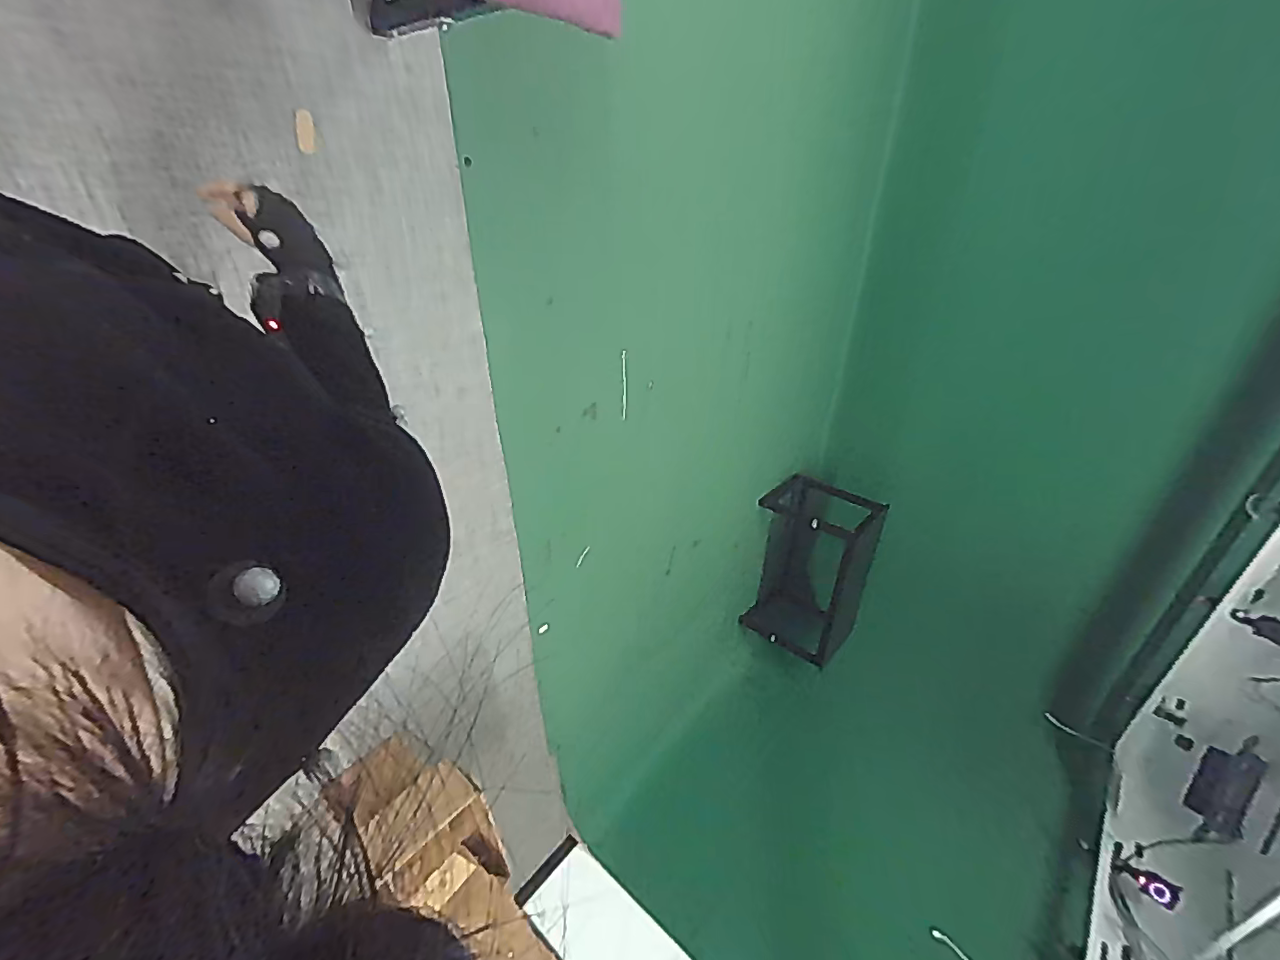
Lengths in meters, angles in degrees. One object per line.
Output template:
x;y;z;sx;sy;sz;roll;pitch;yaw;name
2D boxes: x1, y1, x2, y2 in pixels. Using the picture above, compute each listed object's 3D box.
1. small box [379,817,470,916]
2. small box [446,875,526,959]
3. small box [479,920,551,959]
-0.664;1.183;1.664;0.168;0.176;0.179;-43;140;-29;small box
-0.500;1.440;1.744;0.179;0.176;0.168;-38;136;-37;small box
-0.378;1.506;1.654;0.168;0.176;0.179;-36;135;-38;small box
